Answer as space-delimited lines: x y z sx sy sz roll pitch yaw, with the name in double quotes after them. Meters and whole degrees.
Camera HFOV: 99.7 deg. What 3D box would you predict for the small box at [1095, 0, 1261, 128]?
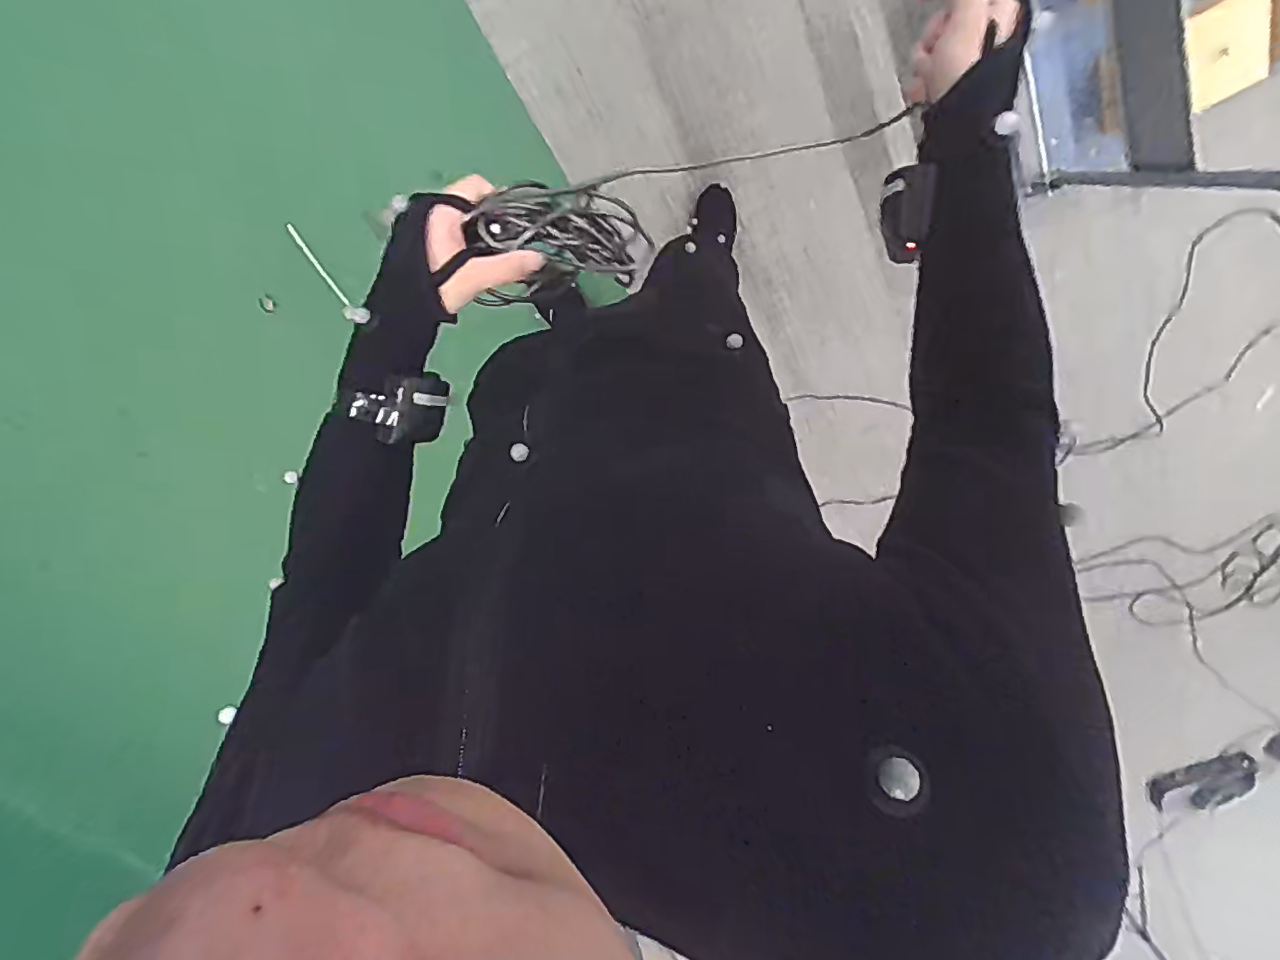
1.083 -0.849 1.099 0.179 0.176 0.168 -26 117 9 "small box"
